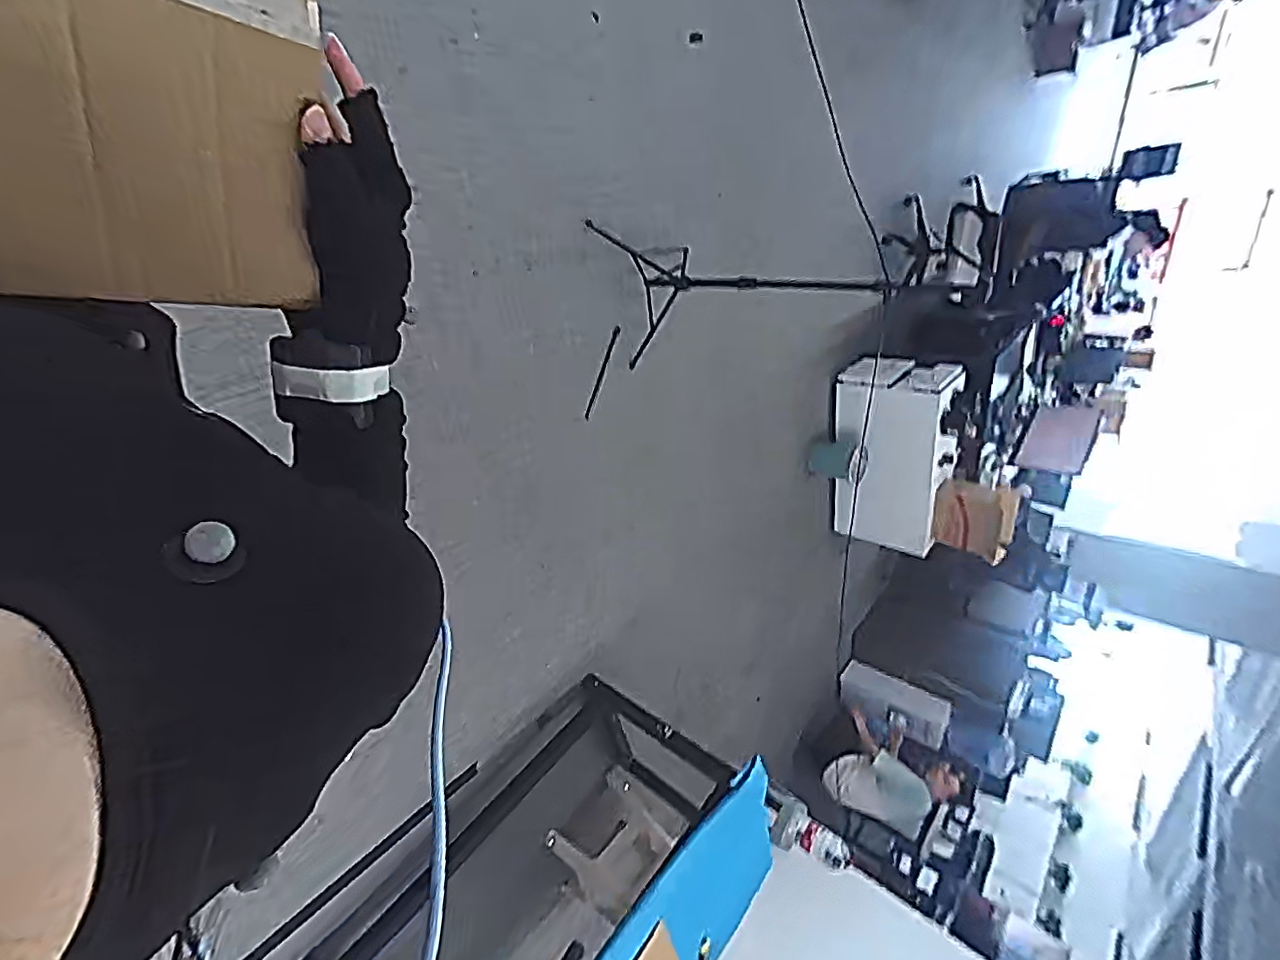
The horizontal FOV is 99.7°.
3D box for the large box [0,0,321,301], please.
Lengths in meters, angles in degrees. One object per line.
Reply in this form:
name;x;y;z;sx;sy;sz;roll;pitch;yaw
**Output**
large box;-0.423;-0.292;0.250;0.408;0.320;0.320;-13;131;-44
